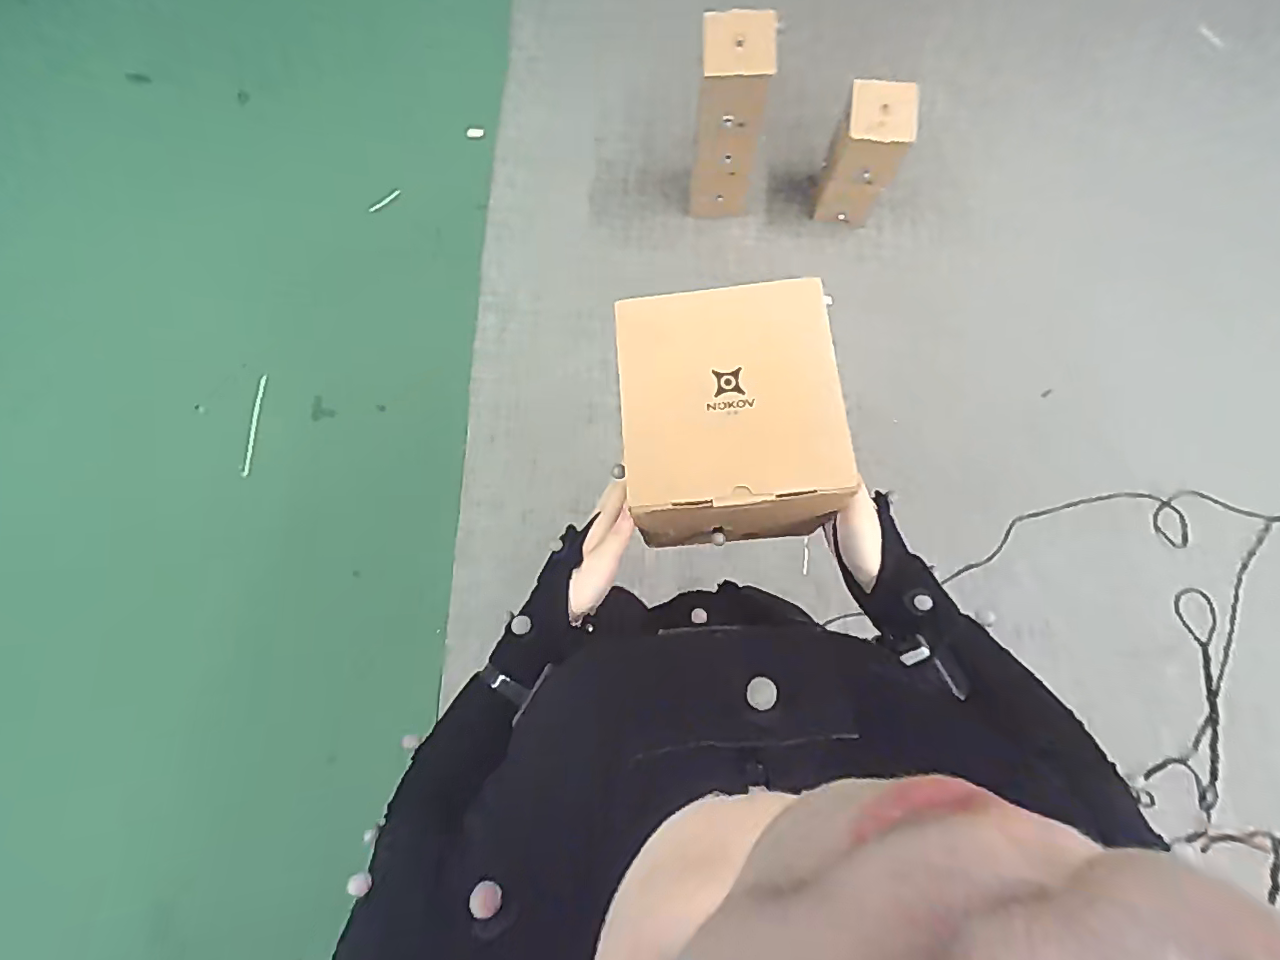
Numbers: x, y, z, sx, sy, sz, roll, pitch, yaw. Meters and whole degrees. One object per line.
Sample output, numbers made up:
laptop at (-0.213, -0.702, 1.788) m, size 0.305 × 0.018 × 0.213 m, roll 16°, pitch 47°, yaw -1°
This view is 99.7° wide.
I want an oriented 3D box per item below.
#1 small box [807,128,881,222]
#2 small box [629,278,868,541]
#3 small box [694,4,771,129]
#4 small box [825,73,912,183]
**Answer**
small box at (0.605, -0.902, 1.602) m, size 0.168 × 0.176 × 0.179 m, roll 8°, pitch 82°, yaw 3°
small box at (0.081, -0.049, 0.485) m, size 0.168 × 0.176 × 0.179 m, roll -5°, pitch 75°, yaw 3°
small box at (0.215, -0.983, 1.296) m, size 0.168 × 0.176 × 0.179 m, roll 0°, pitch 81°, yaw 4°
small box at (0.603, -0.932, 1.440) m, size 0.168 × 0.176 × 0.179 m, roll 6°, pitch 81°, yaw 3°
